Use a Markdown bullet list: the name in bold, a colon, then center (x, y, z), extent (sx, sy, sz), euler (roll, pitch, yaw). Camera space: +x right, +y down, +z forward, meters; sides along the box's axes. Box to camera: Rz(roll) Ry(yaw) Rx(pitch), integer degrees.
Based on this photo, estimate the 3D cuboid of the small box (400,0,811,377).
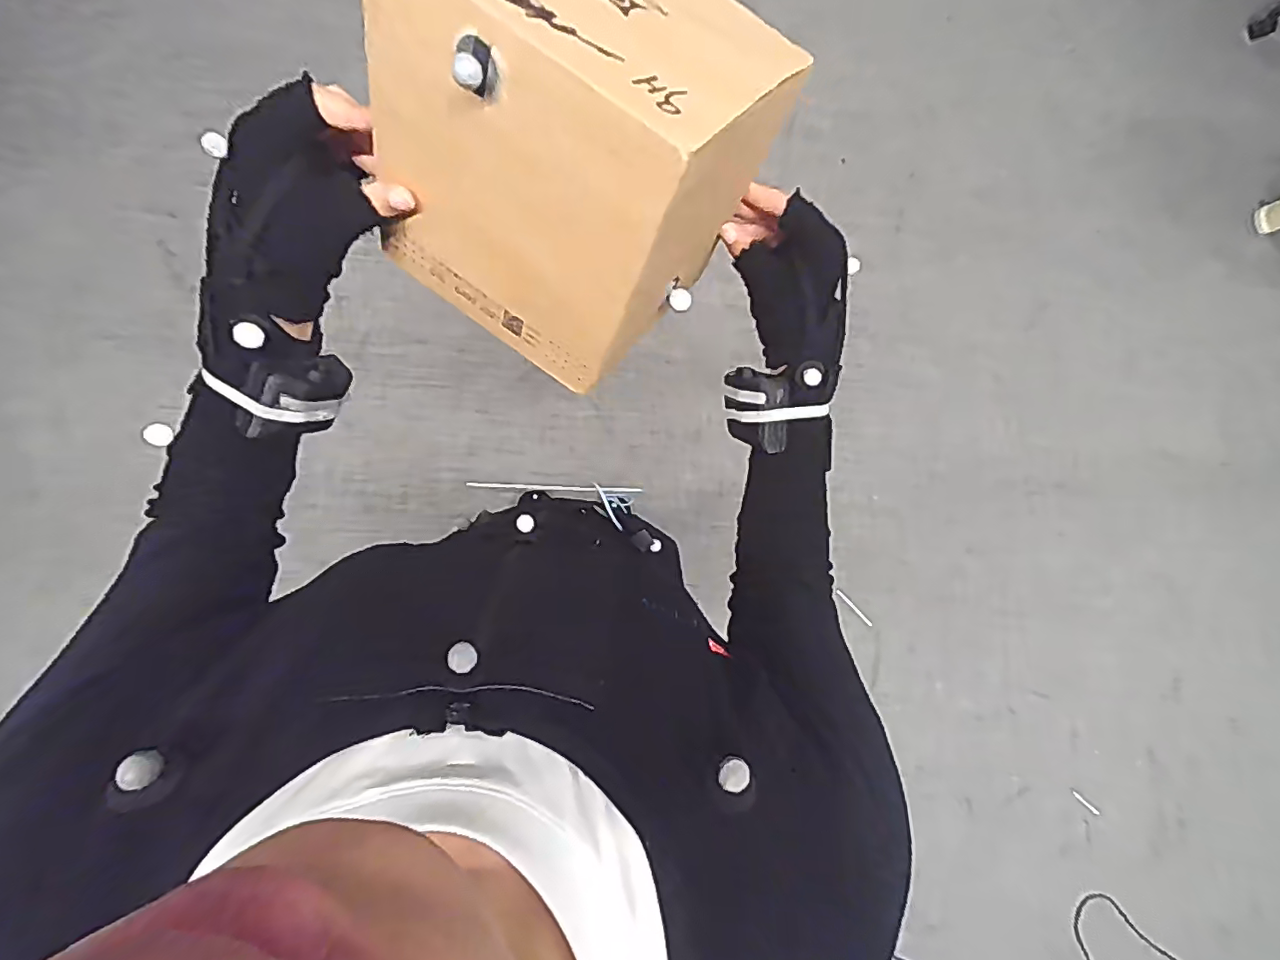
- **small box**: center (-0.030, -0.203, 0.338), extent (0.168, 0.176, 0.179), euler (36, 55, 1)
